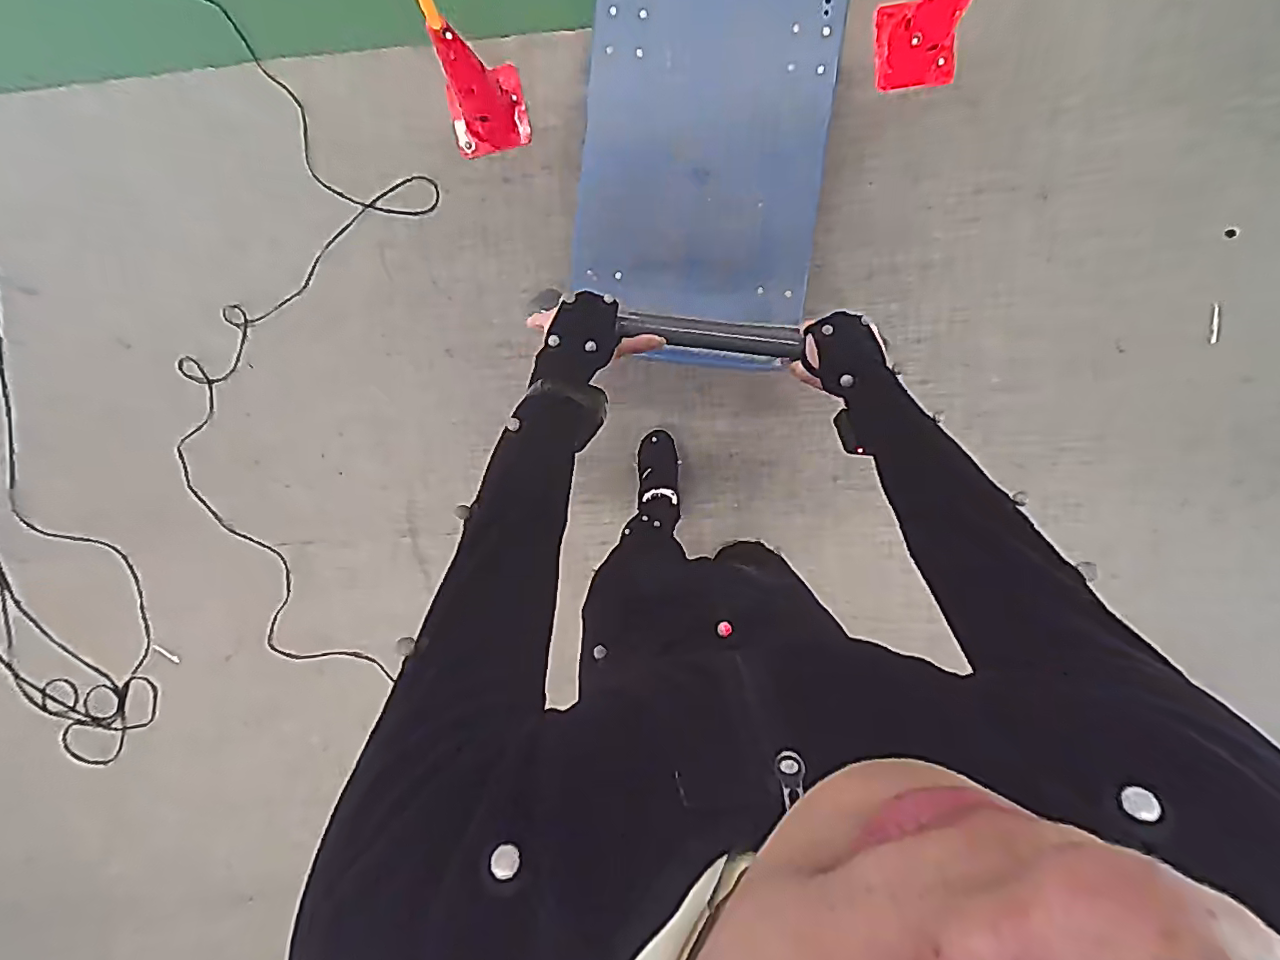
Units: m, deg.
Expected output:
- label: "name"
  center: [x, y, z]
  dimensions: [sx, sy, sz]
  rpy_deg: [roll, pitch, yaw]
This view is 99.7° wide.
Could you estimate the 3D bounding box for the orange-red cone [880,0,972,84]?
- label: "orange-red cone"
  center: [0.699, -1.085, 1.191]
  dimensions: [0.198, 0.360, 0.199]
  rpy_deg: [-4, 97, 2]
